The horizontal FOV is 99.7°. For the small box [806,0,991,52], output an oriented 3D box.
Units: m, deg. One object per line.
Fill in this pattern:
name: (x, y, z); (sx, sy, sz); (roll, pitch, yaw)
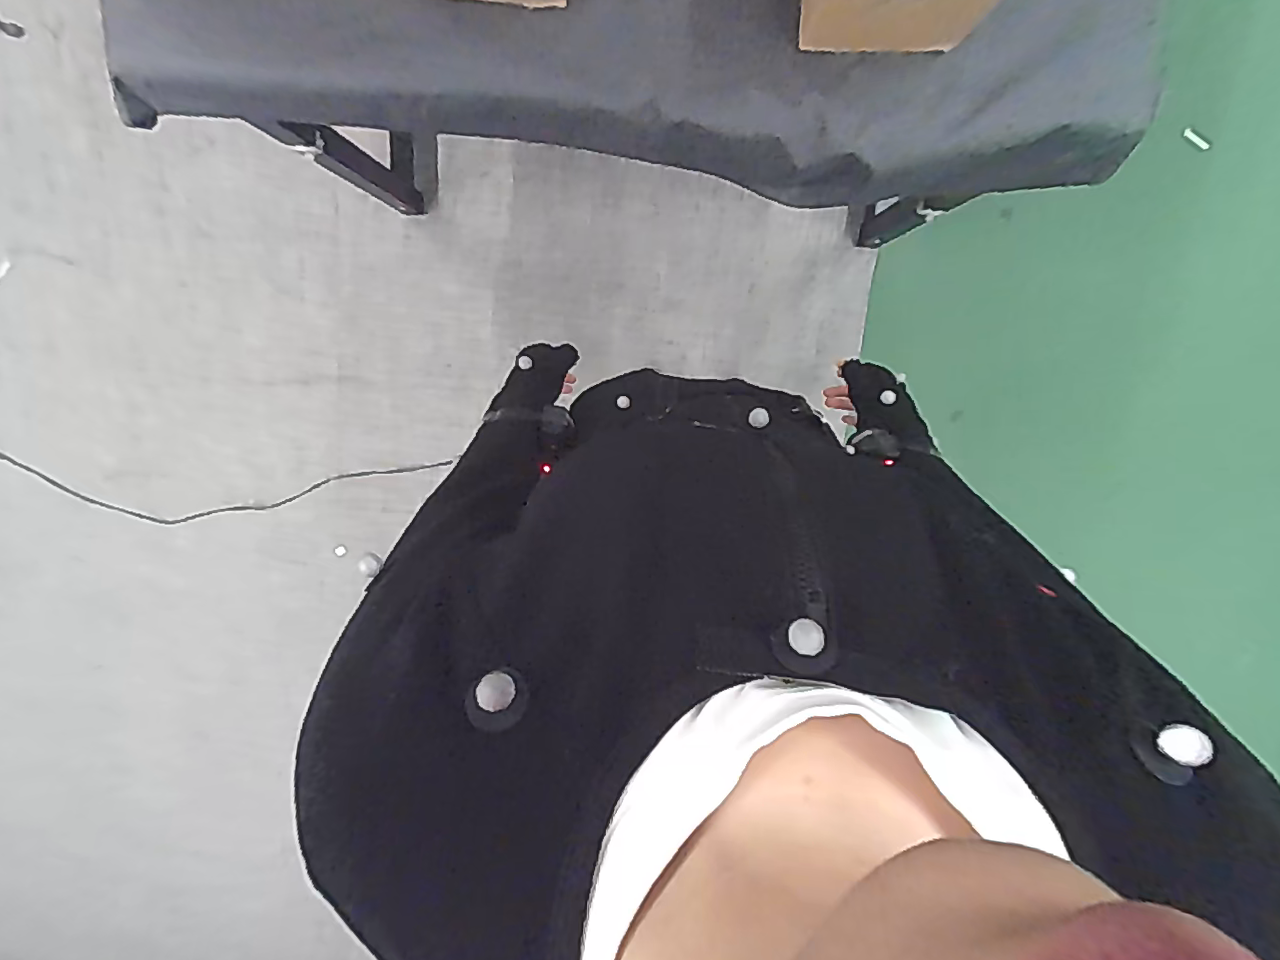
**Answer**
small box: (0.272, -0.554, 0.526); (0.179, 0.176, 0.168); (1, 103, 0)
